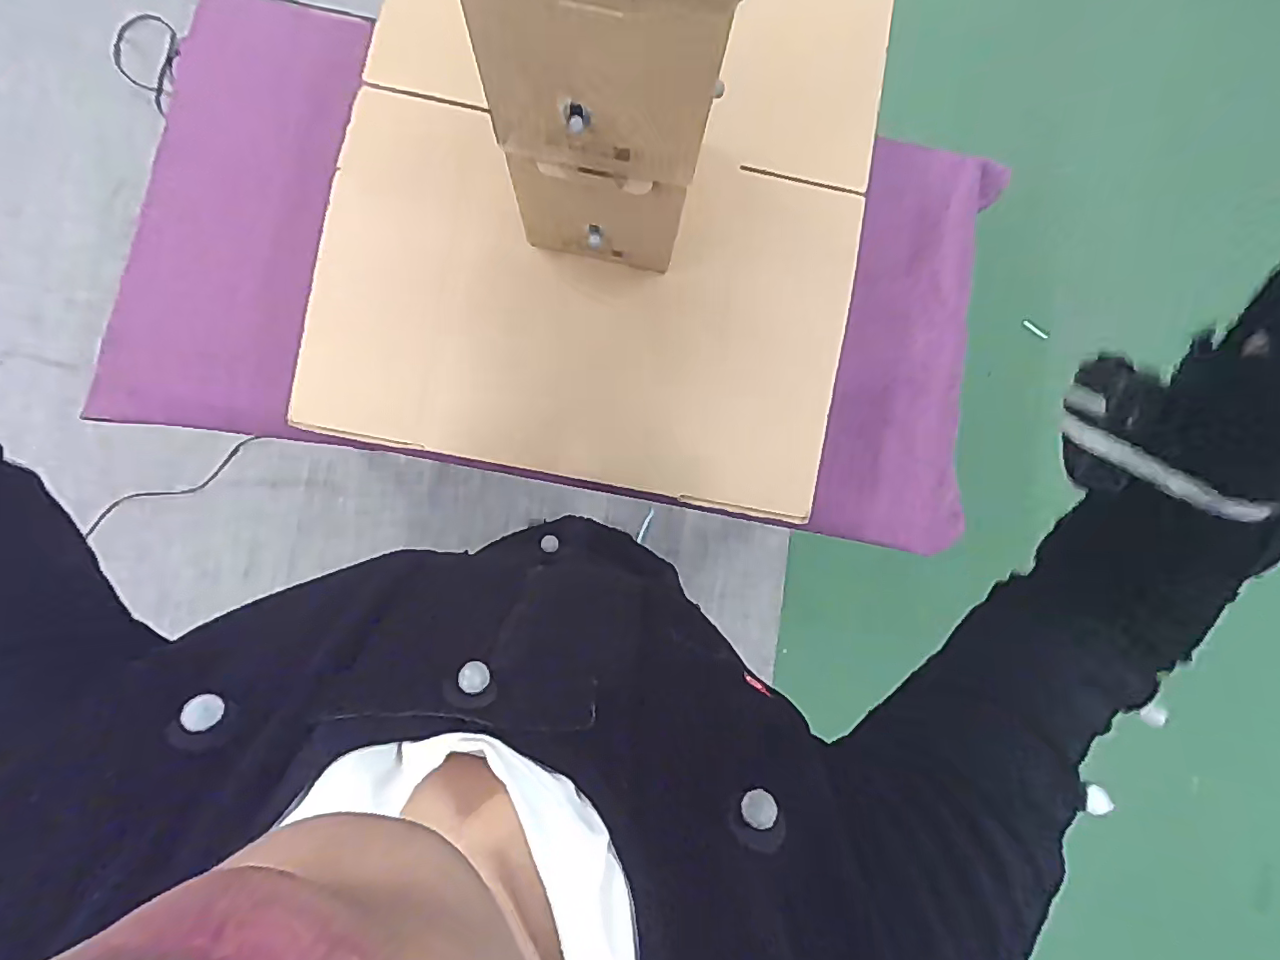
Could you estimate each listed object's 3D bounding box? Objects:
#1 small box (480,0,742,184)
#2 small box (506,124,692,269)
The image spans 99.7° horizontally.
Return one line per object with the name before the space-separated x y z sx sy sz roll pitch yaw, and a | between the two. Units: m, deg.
small box | -0.015 -0.357 0.389 0.168 0.176 0.179 9 84 -3
small box | -0.024 -0.349 0.551 0.168 0.176 0.179 11 84 -2
